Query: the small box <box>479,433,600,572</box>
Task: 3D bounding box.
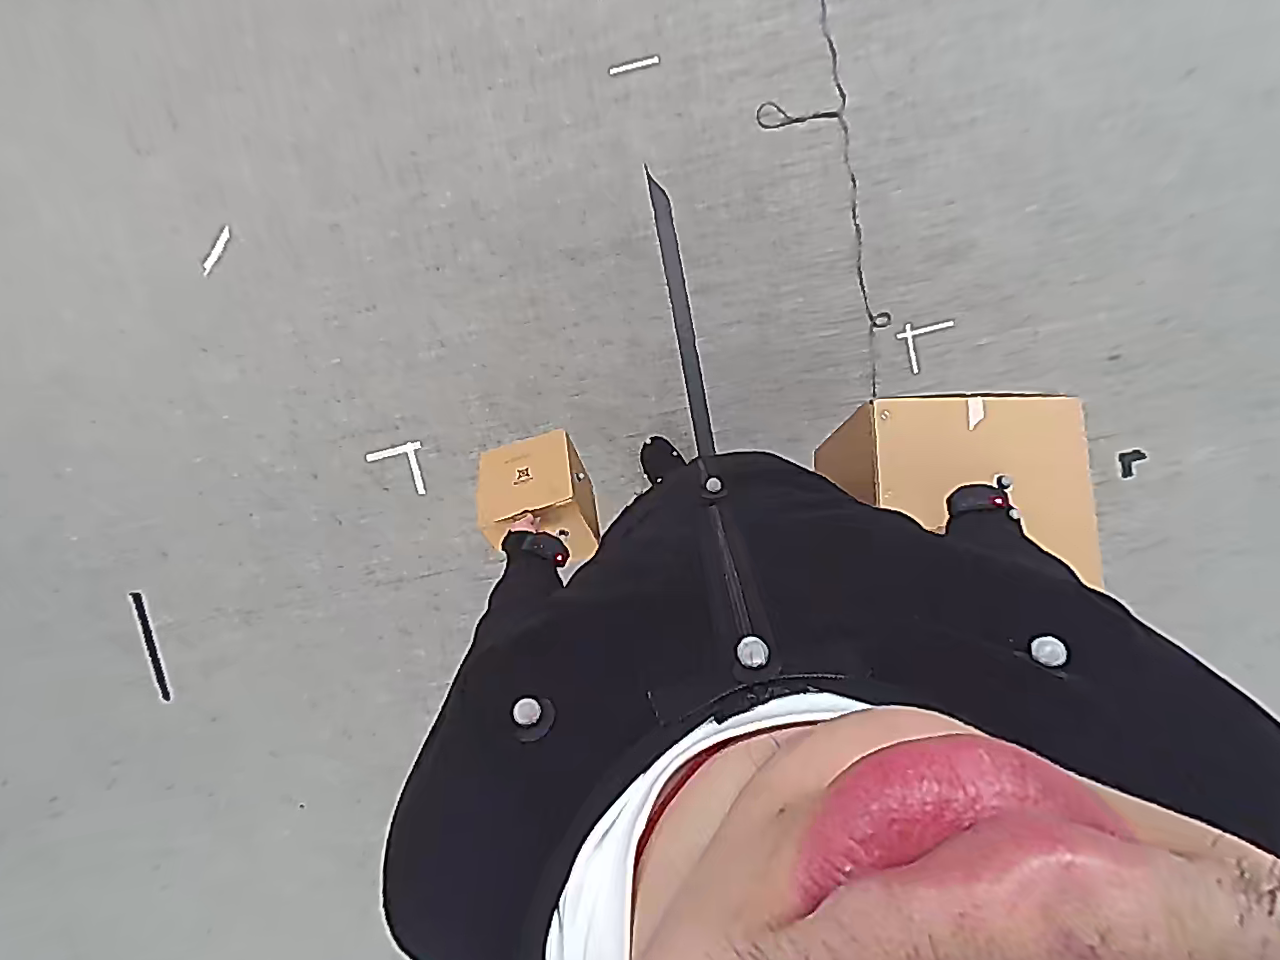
[{"bbox_3d":[-0.178,0.049,0.989,0.168,0.179,0.176,-16,135,3],"label":"small box"}]
